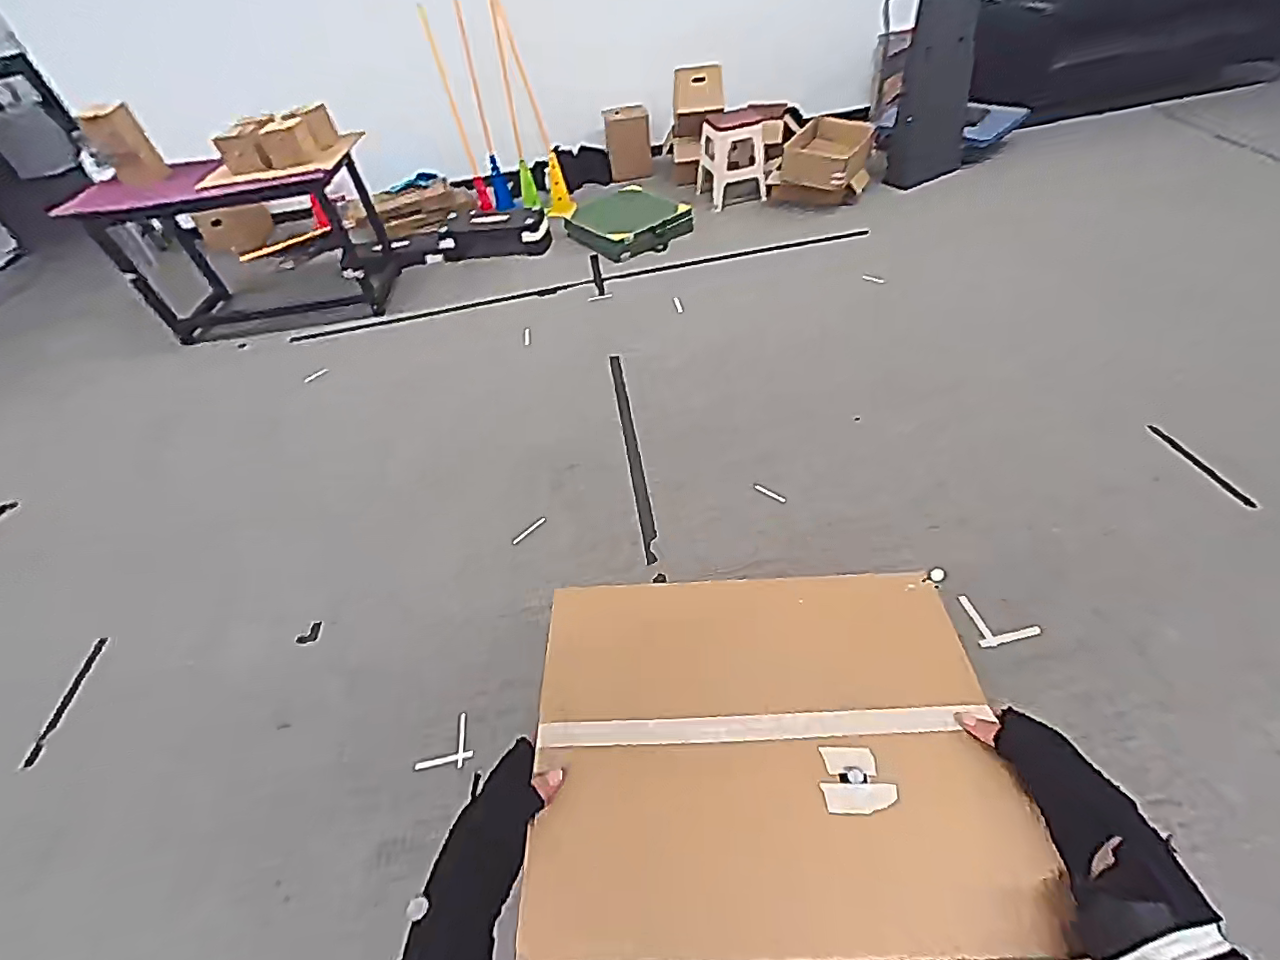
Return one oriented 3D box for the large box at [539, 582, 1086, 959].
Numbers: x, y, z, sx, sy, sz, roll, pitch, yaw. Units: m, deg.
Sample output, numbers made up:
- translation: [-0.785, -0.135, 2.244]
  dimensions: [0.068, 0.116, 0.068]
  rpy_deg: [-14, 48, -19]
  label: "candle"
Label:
- translation: [0.128, 0.332, 0.599]
  dimensions: [0.408, 0.320, 0.320]
  rpy_deg: [-2, 47, 3]
  label: "large box"
